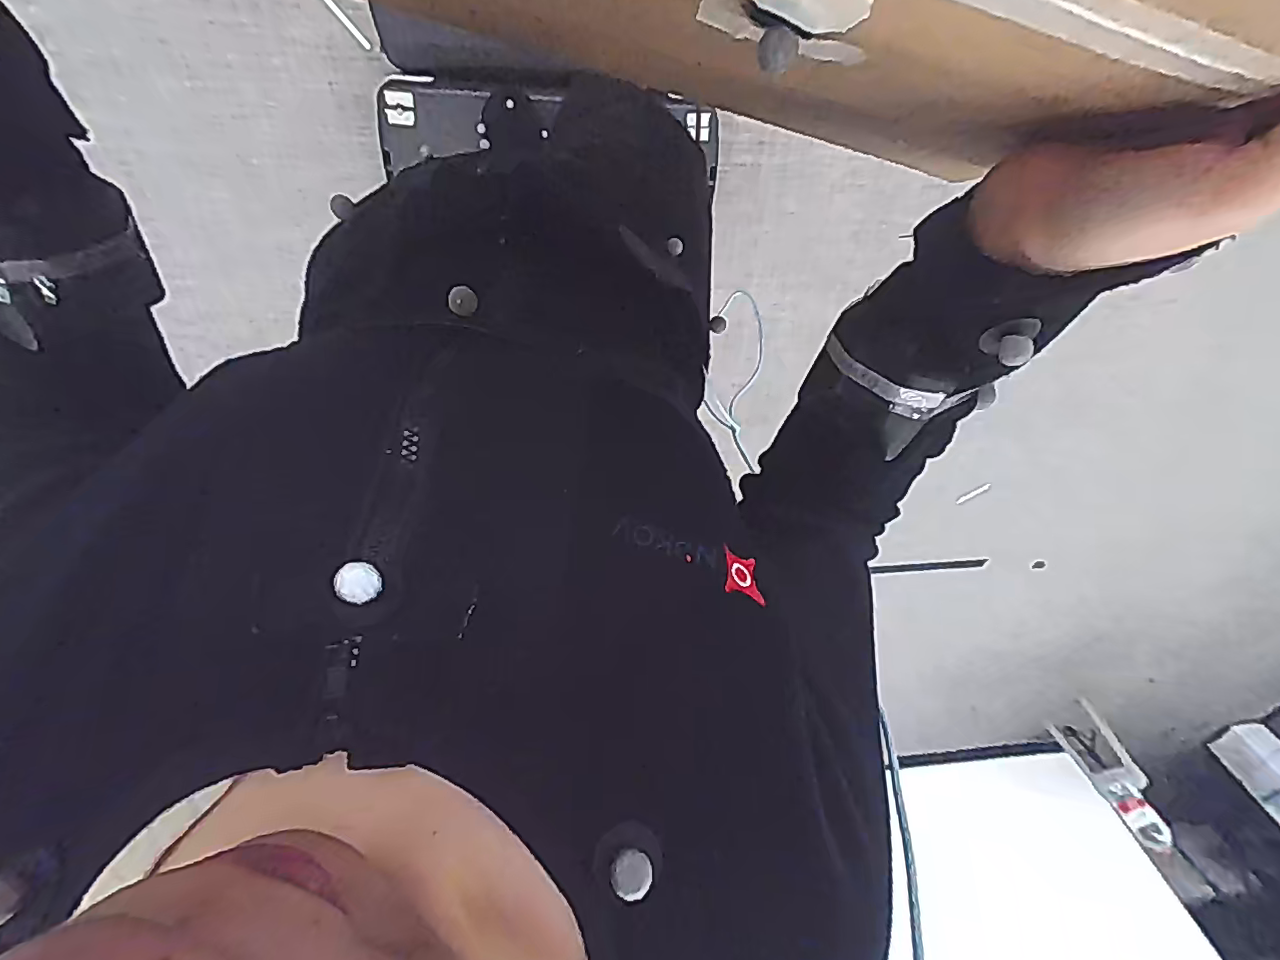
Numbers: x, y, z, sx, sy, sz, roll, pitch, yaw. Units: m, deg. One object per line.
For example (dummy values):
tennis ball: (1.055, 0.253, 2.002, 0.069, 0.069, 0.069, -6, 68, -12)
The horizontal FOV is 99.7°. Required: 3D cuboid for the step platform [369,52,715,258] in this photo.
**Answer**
step platform: (-0.189, -0.667, 1.141, 0.684, 0.204, 0.286, 3, 128, -9)
